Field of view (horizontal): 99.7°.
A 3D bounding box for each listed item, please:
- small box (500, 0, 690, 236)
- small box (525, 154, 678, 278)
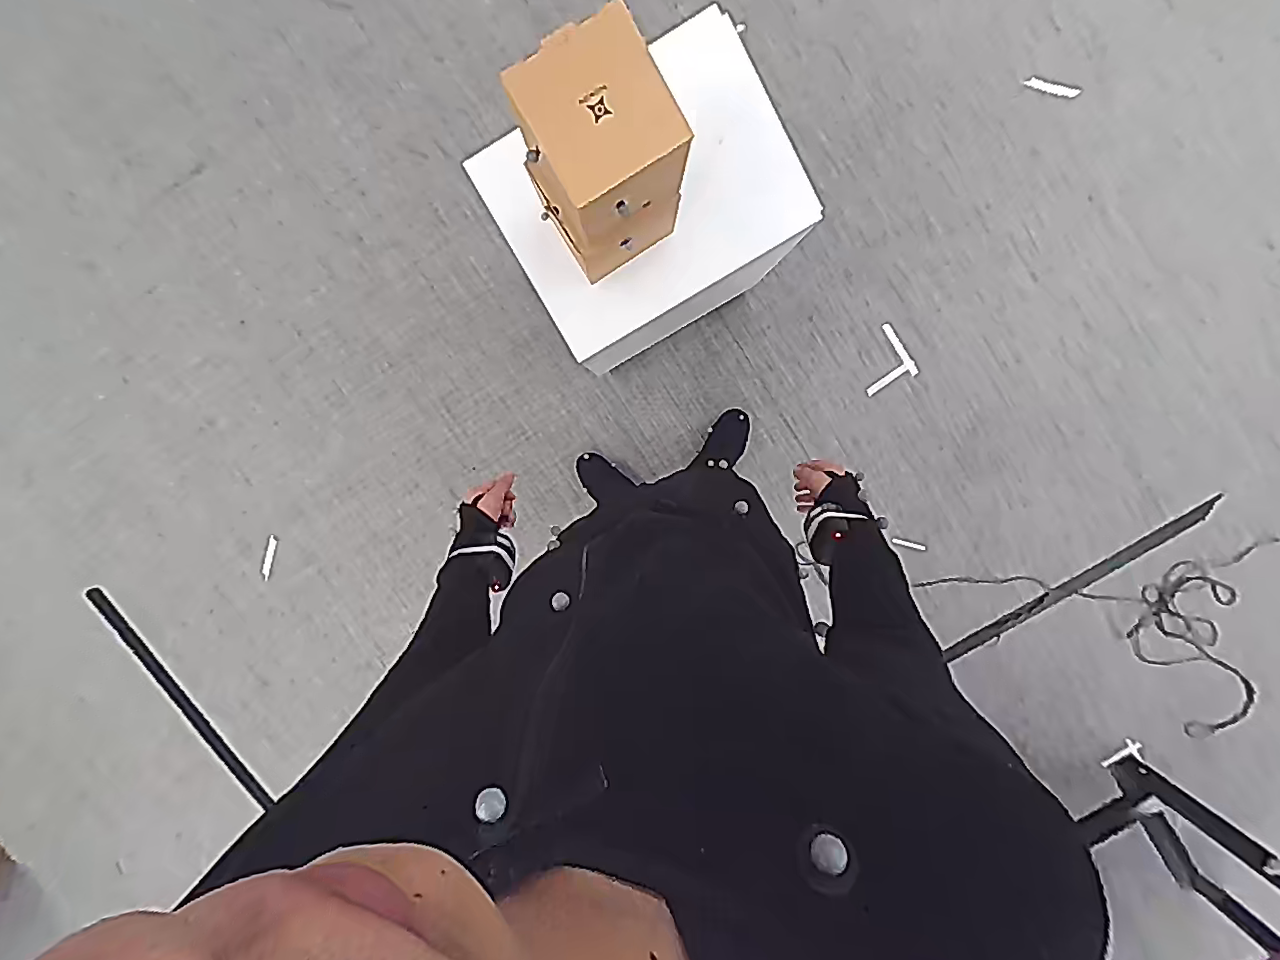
[{"bbox_3d":[-0.051,-0.450,0.713,0.168,0.176,0.179,-31,97,3],"label":"small box"},{"bbox_3d":[-0.056,-0.456,0.876,0.179,0.176,0.168,-32,97,3],"label":"small box"}]
